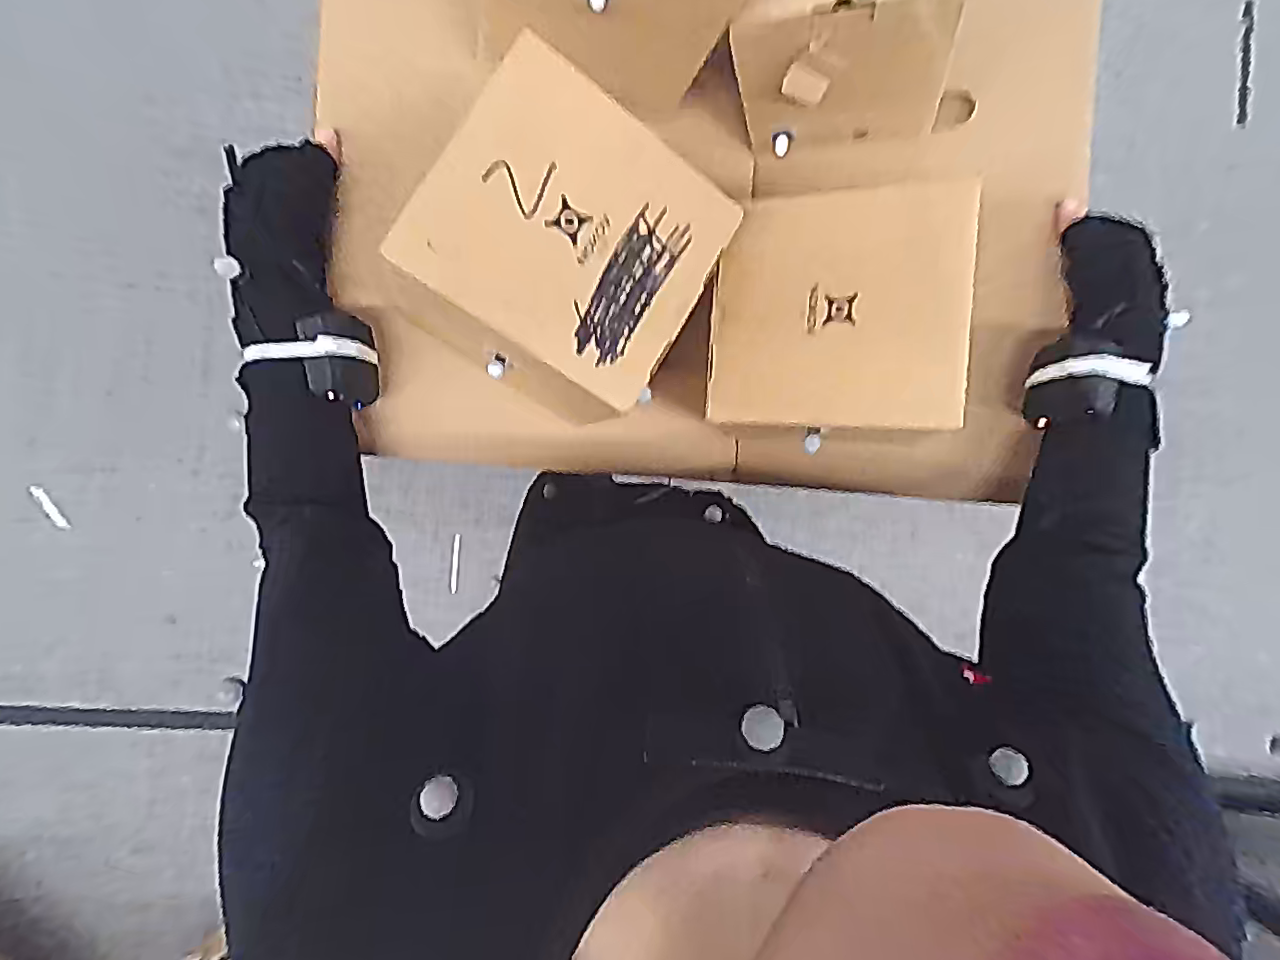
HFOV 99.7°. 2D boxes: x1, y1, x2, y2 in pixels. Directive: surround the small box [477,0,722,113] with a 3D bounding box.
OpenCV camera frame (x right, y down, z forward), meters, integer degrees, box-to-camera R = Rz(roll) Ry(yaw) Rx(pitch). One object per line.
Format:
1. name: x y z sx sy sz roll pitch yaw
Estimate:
1. small box: -0.027 -0.429 0.416 0.179 0.176 0.168 6 91 -20
